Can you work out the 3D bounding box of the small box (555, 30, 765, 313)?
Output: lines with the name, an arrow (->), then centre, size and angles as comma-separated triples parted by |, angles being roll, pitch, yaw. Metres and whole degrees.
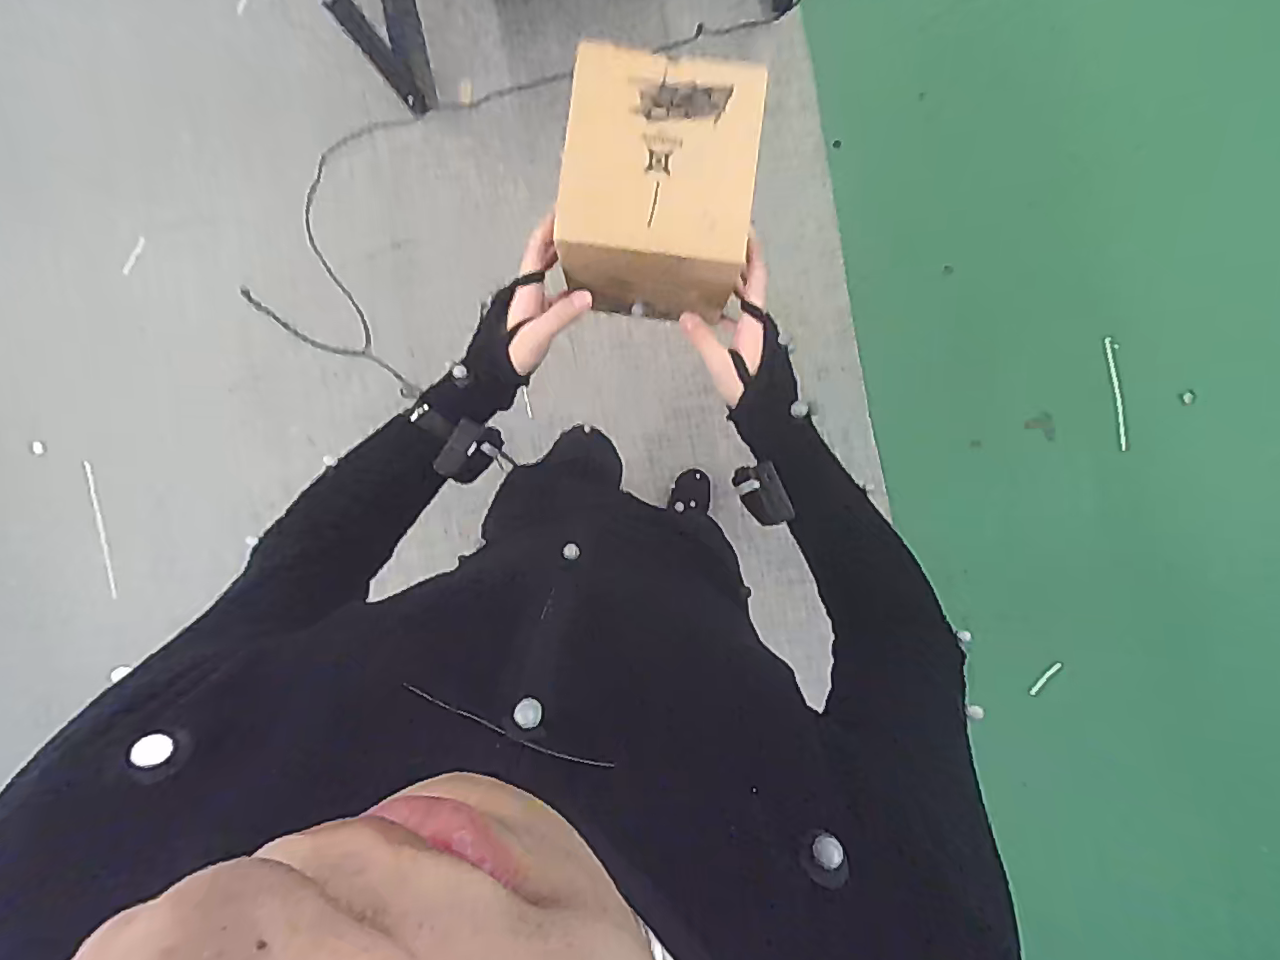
small box -> 0.016, -0.288, 0.540 | 0.168, 0.176, 0.179 | 6, 88, 0
